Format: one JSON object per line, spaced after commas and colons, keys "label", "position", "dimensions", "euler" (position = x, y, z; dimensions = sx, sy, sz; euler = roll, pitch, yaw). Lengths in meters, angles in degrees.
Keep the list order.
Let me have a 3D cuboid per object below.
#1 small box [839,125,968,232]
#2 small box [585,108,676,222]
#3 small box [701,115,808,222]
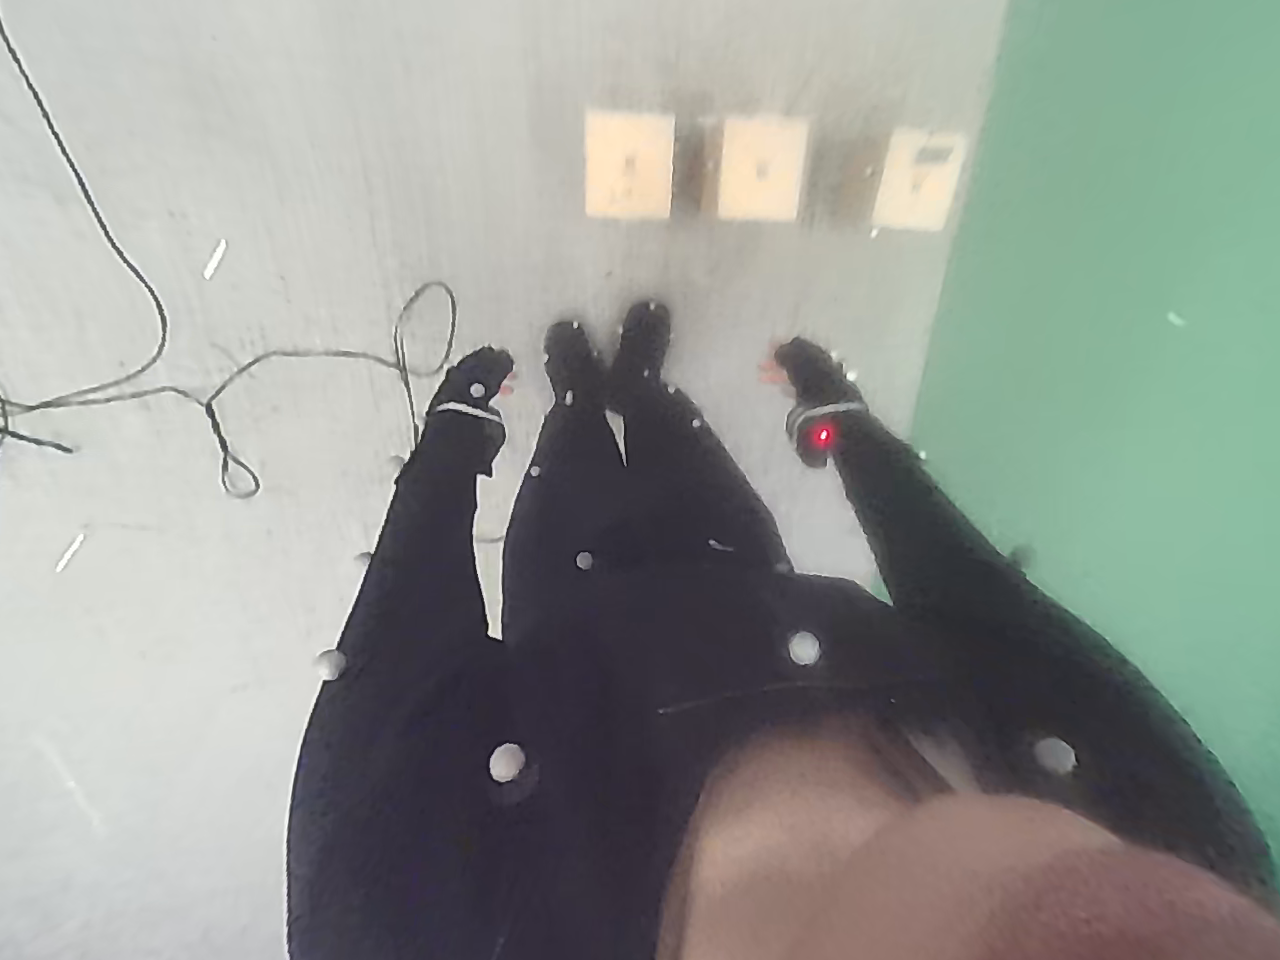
{"label": "small box", "position": [0.550, -0.635, 1.158], "dimensions": [0.168, 0.176, 0.179], "euler": [2, 115, -8]}
{"label": "small box", "position": [-0.027, -0.622, 1.088], "dimensions": [0.168, 0.176, 0.179], "euler": [-1, 114, -6]}
{"label": "small box", "position": [0.226, -0.634, 1.118], "dimensions": [0.168, 0.176, 0.179], "euler": [-2, 114, -7]}
